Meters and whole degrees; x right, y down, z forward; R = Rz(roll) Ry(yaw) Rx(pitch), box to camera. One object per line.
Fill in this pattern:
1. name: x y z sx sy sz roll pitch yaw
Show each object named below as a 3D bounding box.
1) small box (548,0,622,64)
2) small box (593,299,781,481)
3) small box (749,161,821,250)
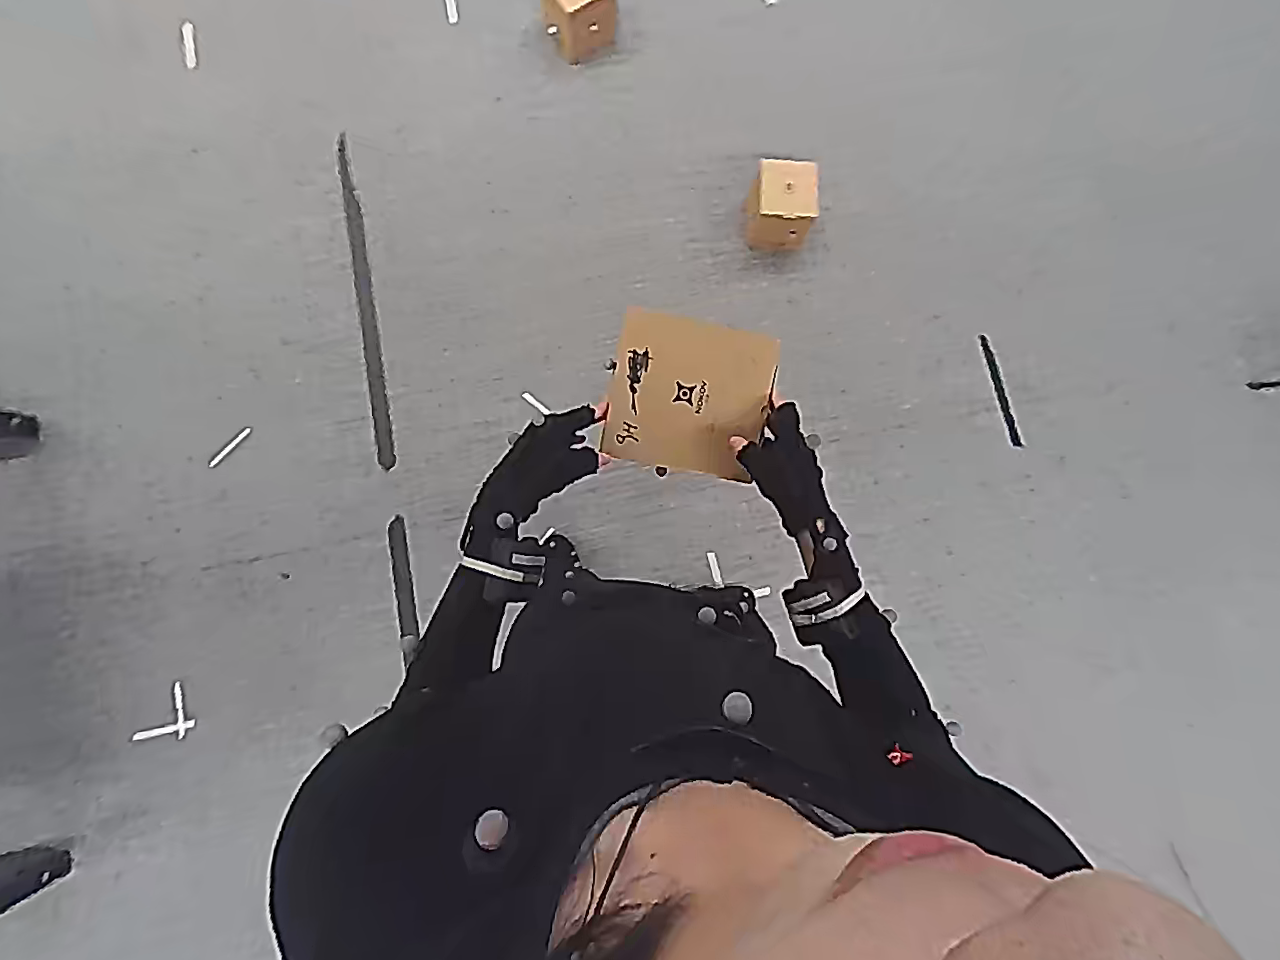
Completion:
1. small box: -0.172 -1.443 1.658 0.179 0.176 0.168 -33 85 -6
2. small box: 0.044 -0.101 0.654 0.179 0.176 0.168 11 94 -6
3. small box: 0.427 -0.810 1.610 0.168 0.176 0.179 2 81 -4
